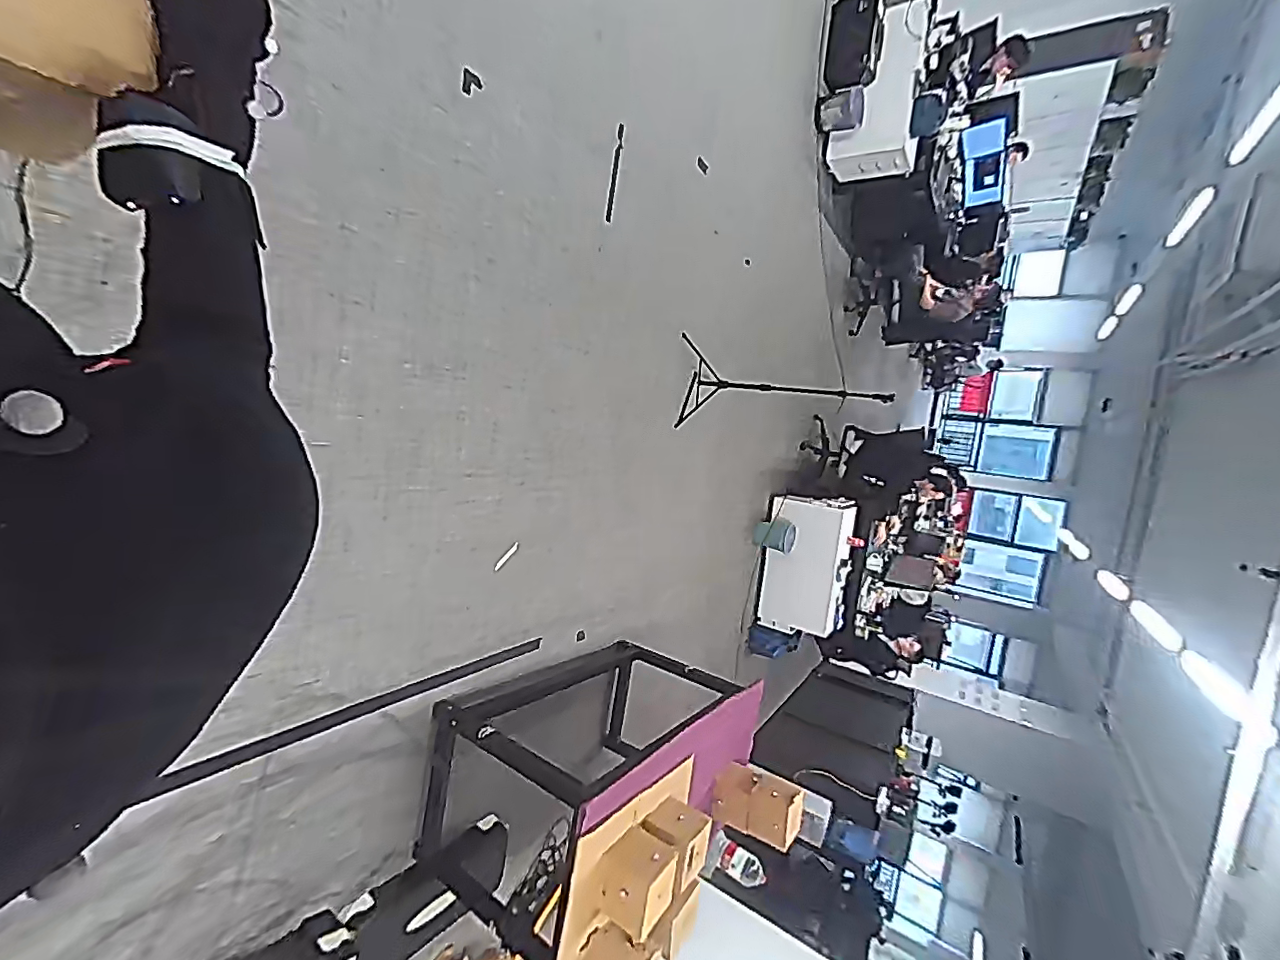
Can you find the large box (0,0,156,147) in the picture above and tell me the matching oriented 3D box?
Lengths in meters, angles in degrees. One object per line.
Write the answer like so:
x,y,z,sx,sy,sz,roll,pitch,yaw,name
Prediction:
-0.573,-0.452,0.298,0.408,0.320,0.320,-2,105,-57,large box
